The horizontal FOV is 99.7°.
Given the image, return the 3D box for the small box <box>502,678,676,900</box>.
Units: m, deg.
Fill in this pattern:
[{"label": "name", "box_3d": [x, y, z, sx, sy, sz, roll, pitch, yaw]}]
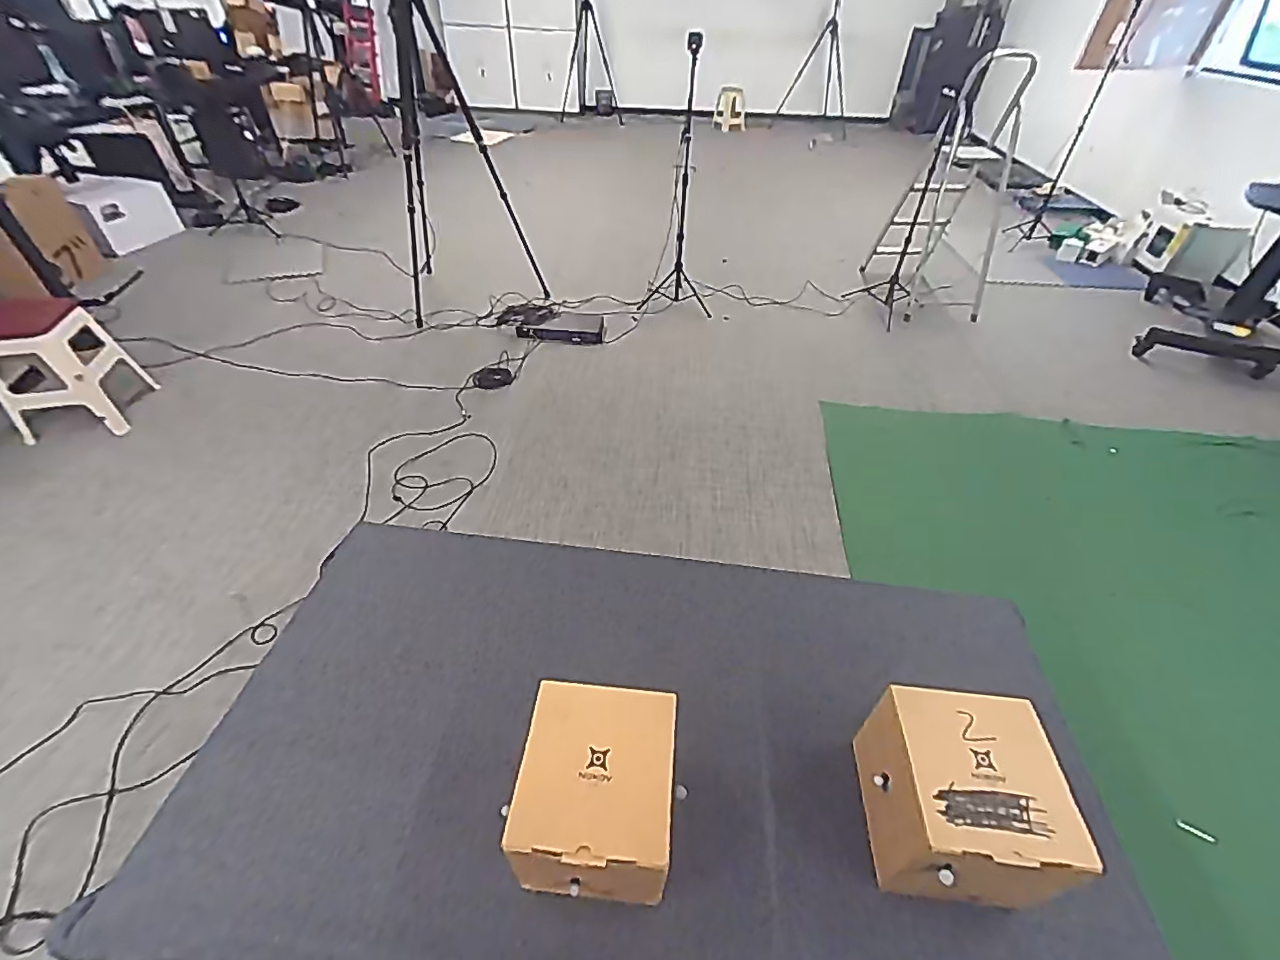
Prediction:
[{"label": "small box", "box_3d": [-0.052, 0.363, 0.638, 0.168, 0.176, 0.179, 6, 43, 2]}]
